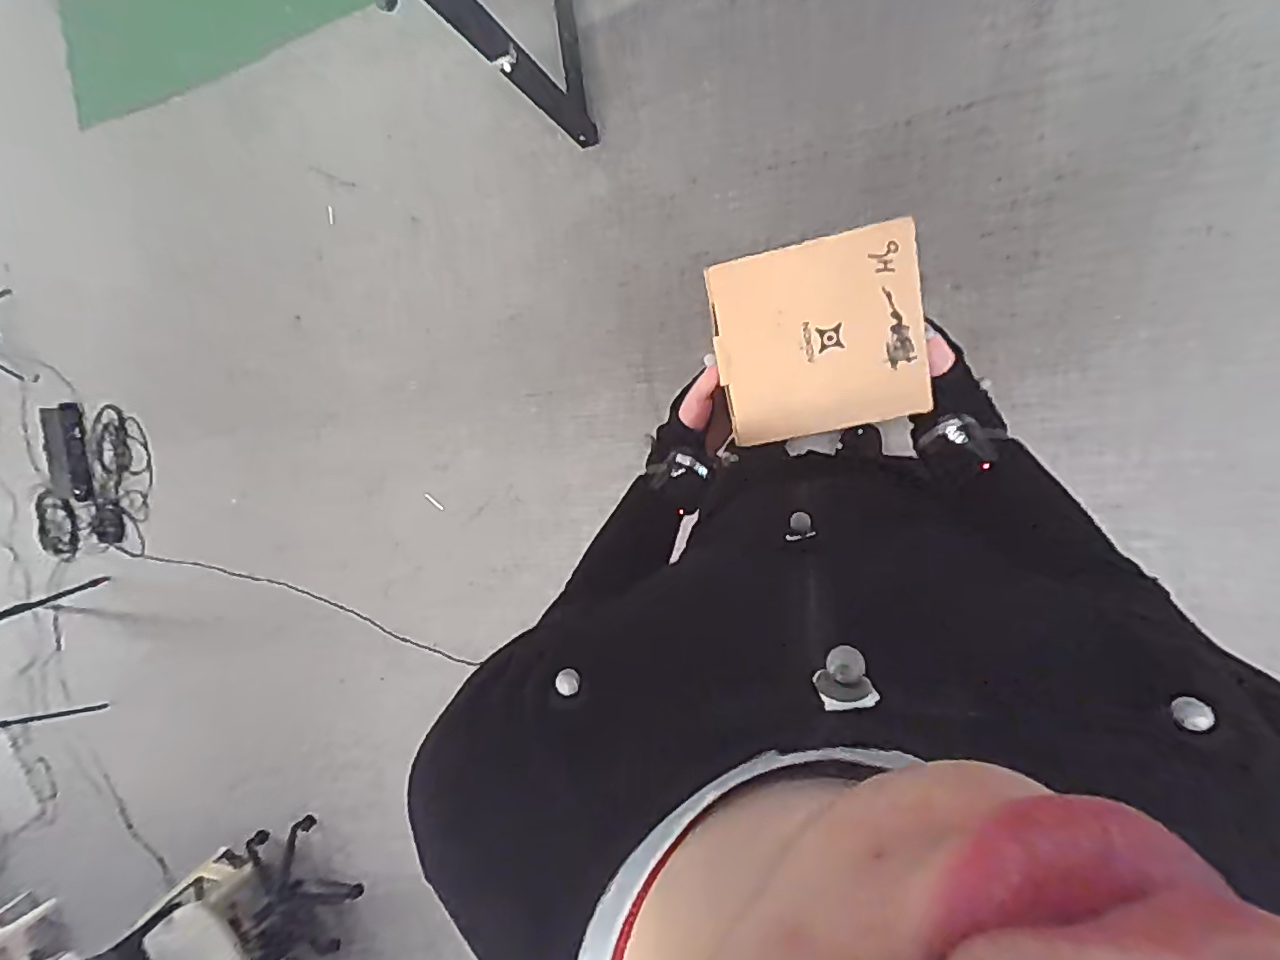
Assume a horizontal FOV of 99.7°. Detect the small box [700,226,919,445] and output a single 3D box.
[{"bbox_3d":[0.163,-0.142,0.560,0.179,0.176,0.168,-10,104,10],"label":"small box"}]
